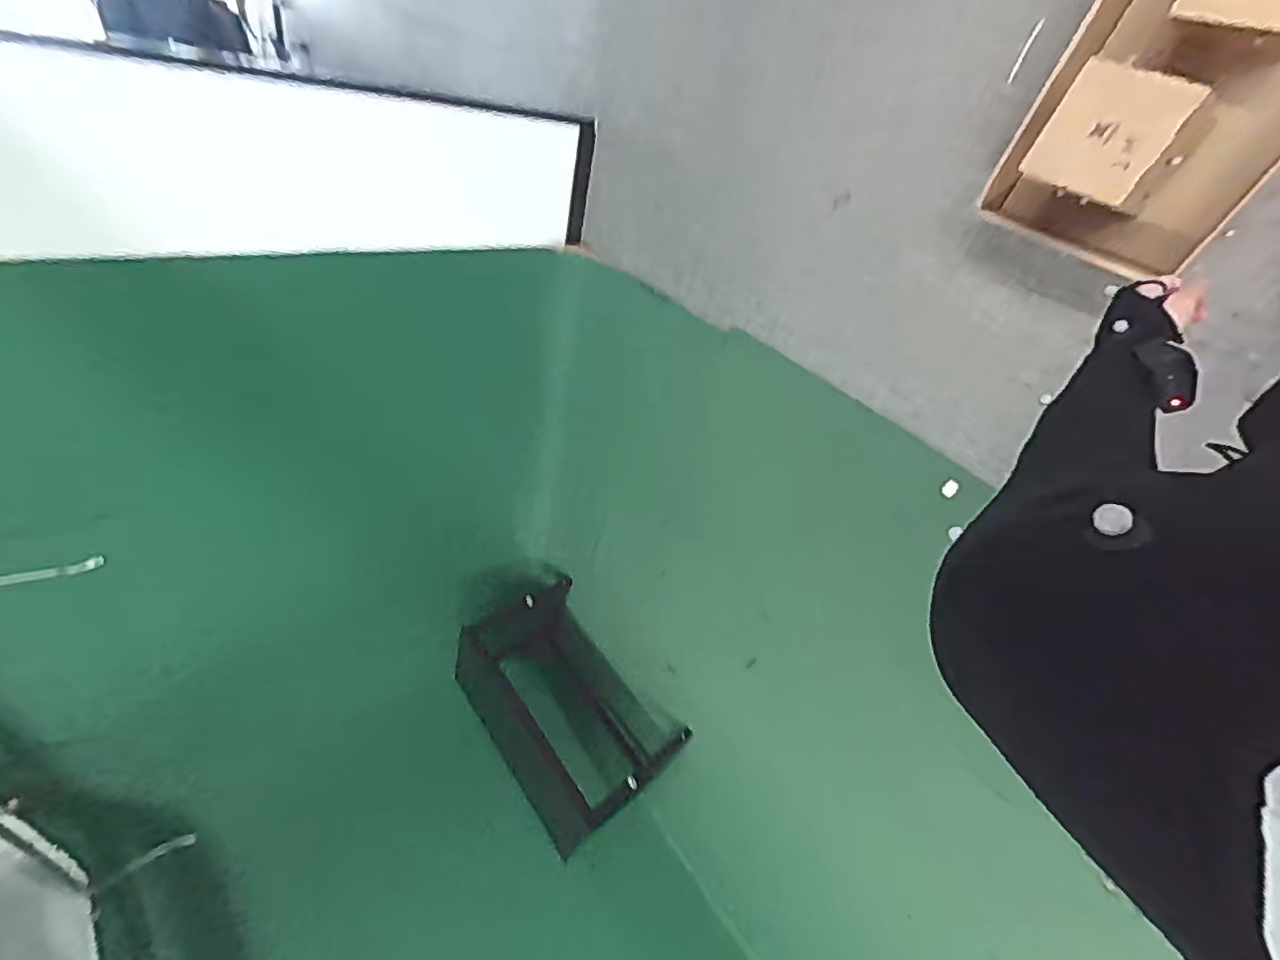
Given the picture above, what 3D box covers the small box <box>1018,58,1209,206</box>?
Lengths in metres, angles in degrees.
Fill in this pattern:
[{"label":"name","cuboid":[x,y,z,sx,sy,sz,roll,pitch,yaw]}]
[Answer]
[{"label":"small box","cuboid":[0.806,-0.584,0.925,0.179,0.176,0.168,45,135,27]}]
